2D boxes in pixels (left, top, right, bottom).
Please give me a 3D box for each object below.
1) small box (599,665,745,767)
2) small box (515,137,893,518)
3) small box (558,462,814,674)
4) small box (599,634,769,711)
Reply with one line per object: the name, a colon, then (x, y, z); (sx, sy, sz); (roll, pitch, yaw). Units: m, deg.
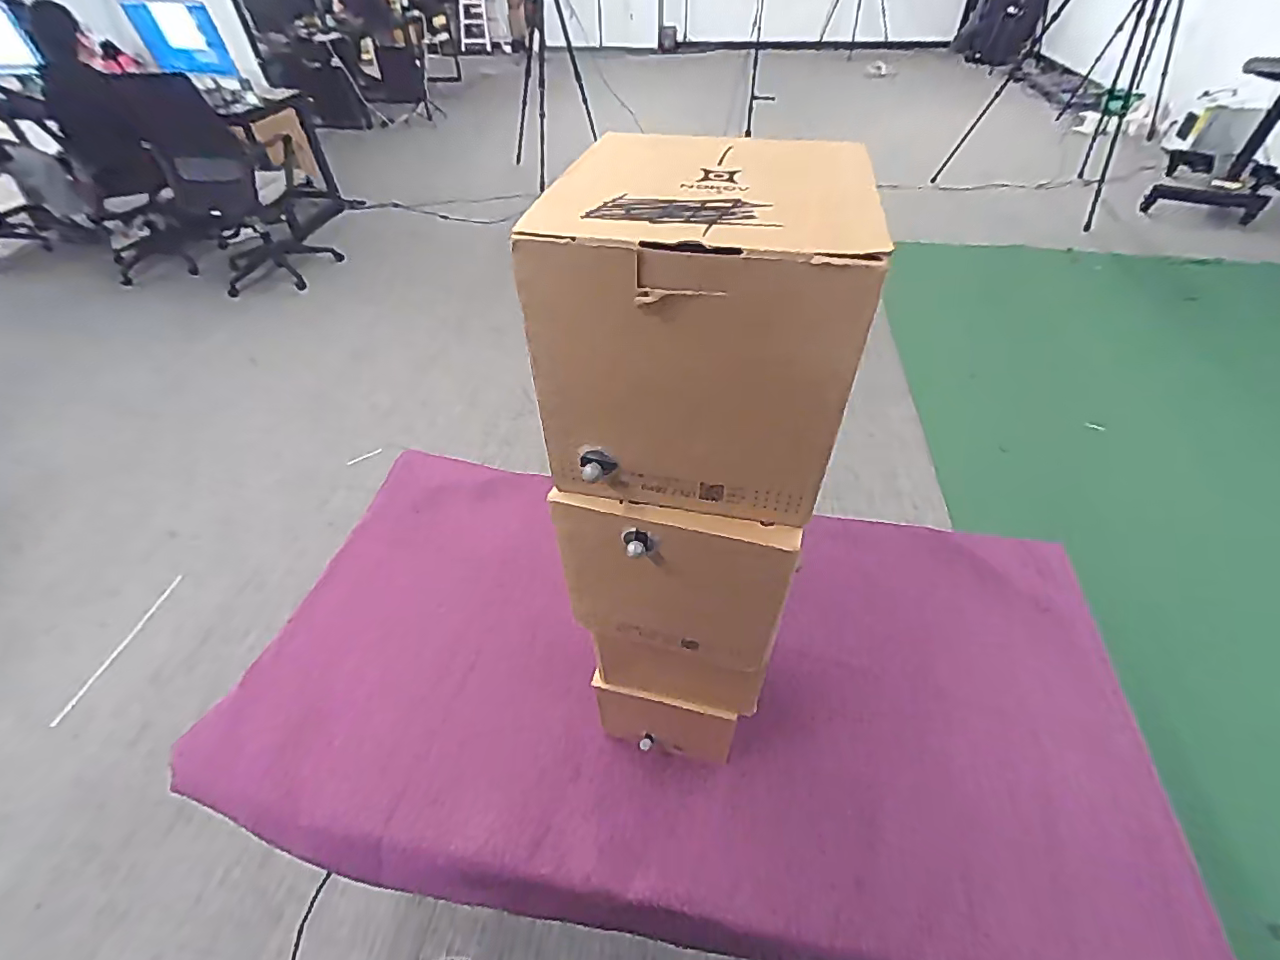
small box: (0.054, 0.237, 0.699); (0.168, 0.176, 0.179); (10, 48, 12)
small box: (0.043, -0.098, 0.341); (0.168, 0.176, 0.179); (8, 46, 9)
small box: (0.047, 0.028, 0.449); (0.168, 0.176, 0.179); (11, 46, 13)
small box: (0.056, 0.125, 0.582); (0.179, 0.176, 0.168); (9, 47, 11)
